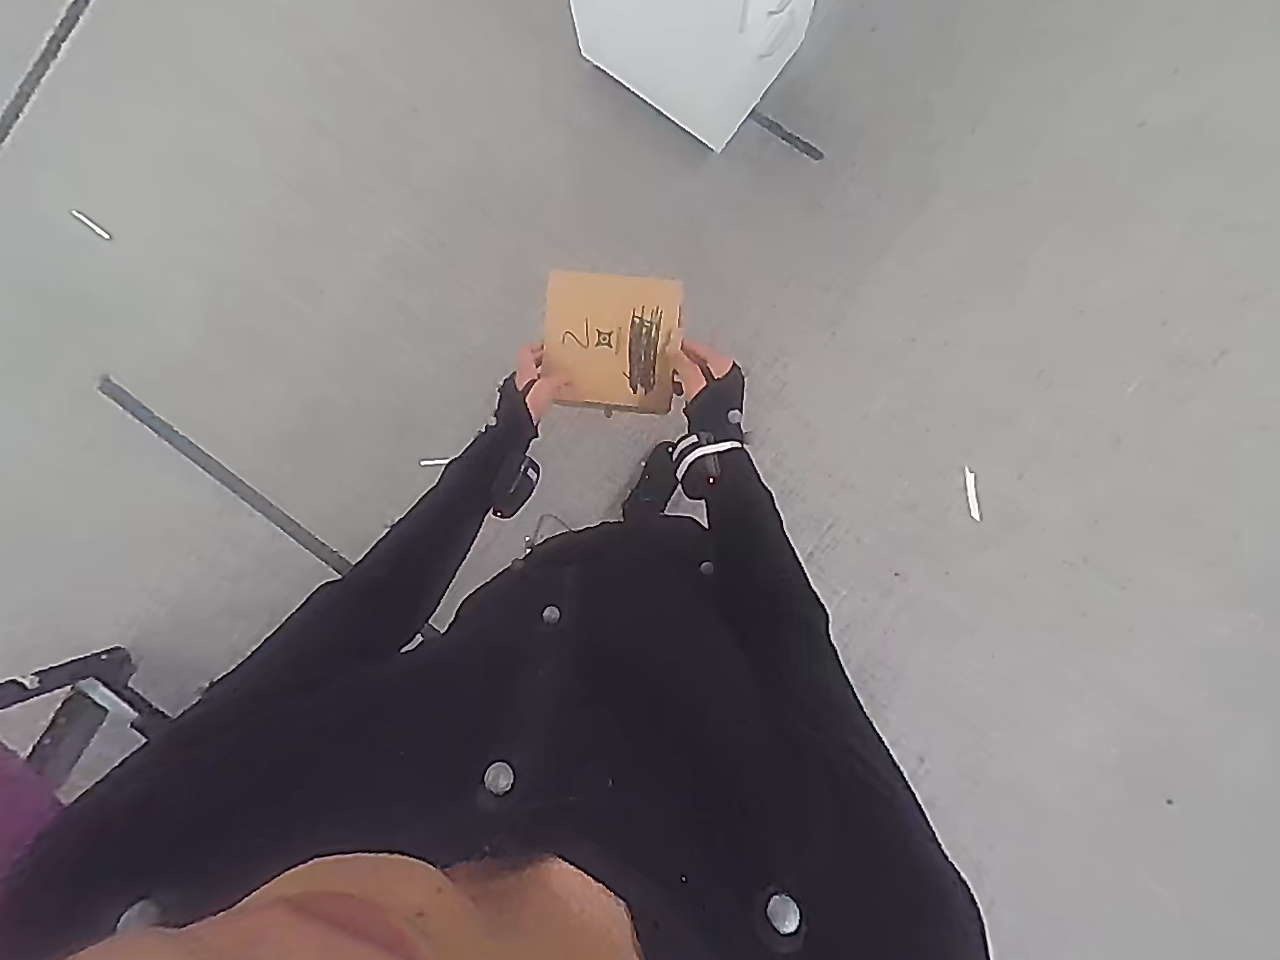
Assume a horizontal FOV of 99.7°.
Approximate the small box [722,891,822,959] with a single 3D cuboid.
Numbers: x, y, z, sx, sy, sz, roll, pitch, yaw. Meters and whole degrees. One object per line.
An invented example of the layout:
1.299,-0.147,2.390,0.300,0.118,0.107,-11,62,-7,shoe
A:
0.306,1.096,1.220,0.168,0.176,0.179,-45,90,3,small box
